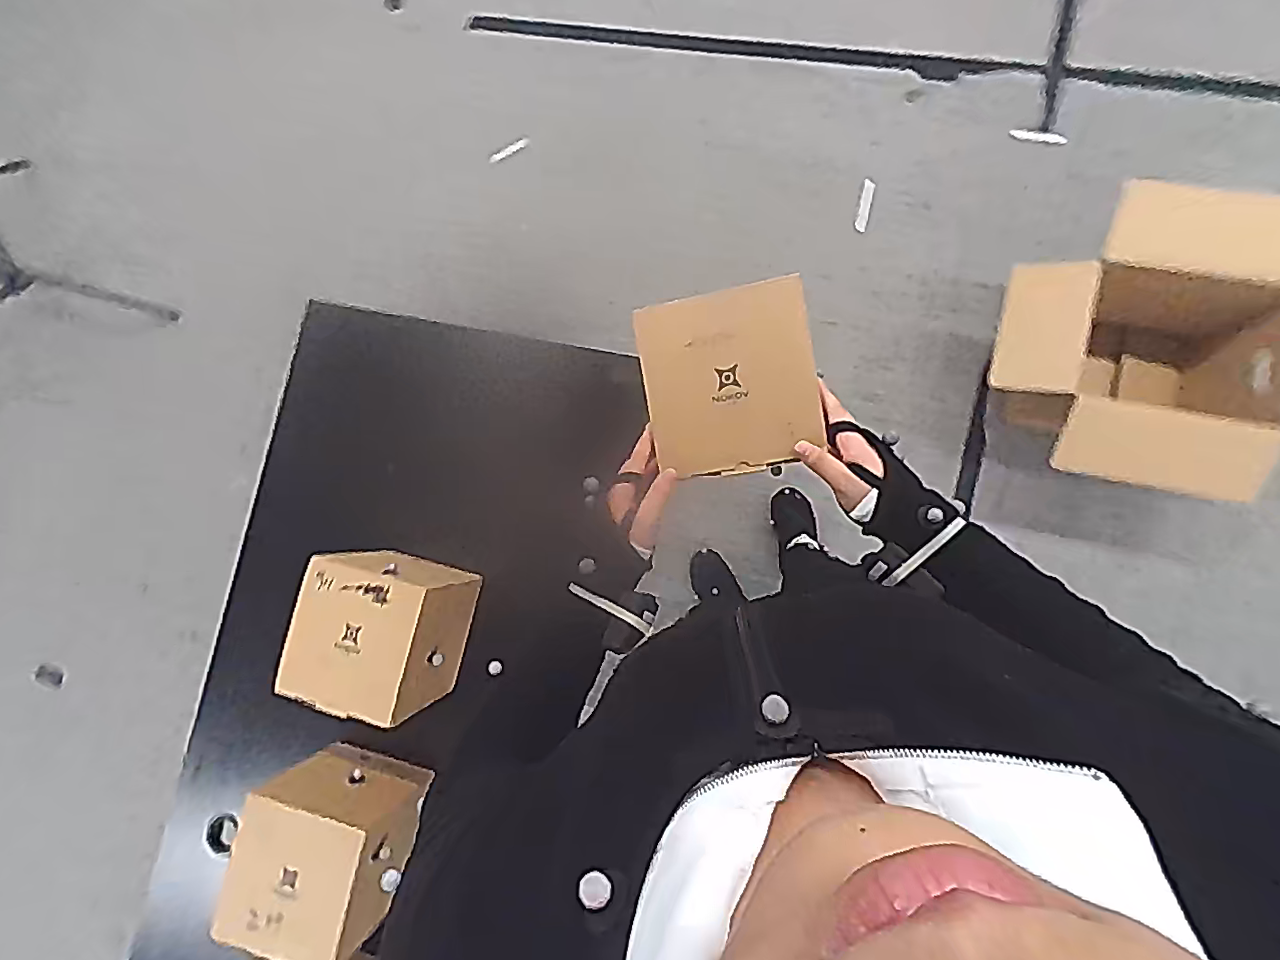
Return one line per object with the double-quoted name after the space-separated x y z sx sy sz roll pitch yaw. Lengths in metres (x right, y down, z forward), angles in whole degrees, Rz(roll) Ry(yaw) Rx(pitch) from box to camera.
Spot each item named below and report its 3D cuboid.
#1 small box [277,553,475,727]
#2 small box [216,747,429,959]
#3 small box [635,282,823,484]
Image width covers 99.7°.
-0.353 0.208 0.756 0.168 0.176 0.179 13 87 8 "small box"
-0.412 0.494 0.734 0.168 0.176 0.179 11 86 9 "small box"
0.100 -0.098 0.608 0.168 0.176 0.179 -9 91 10 "small box"
